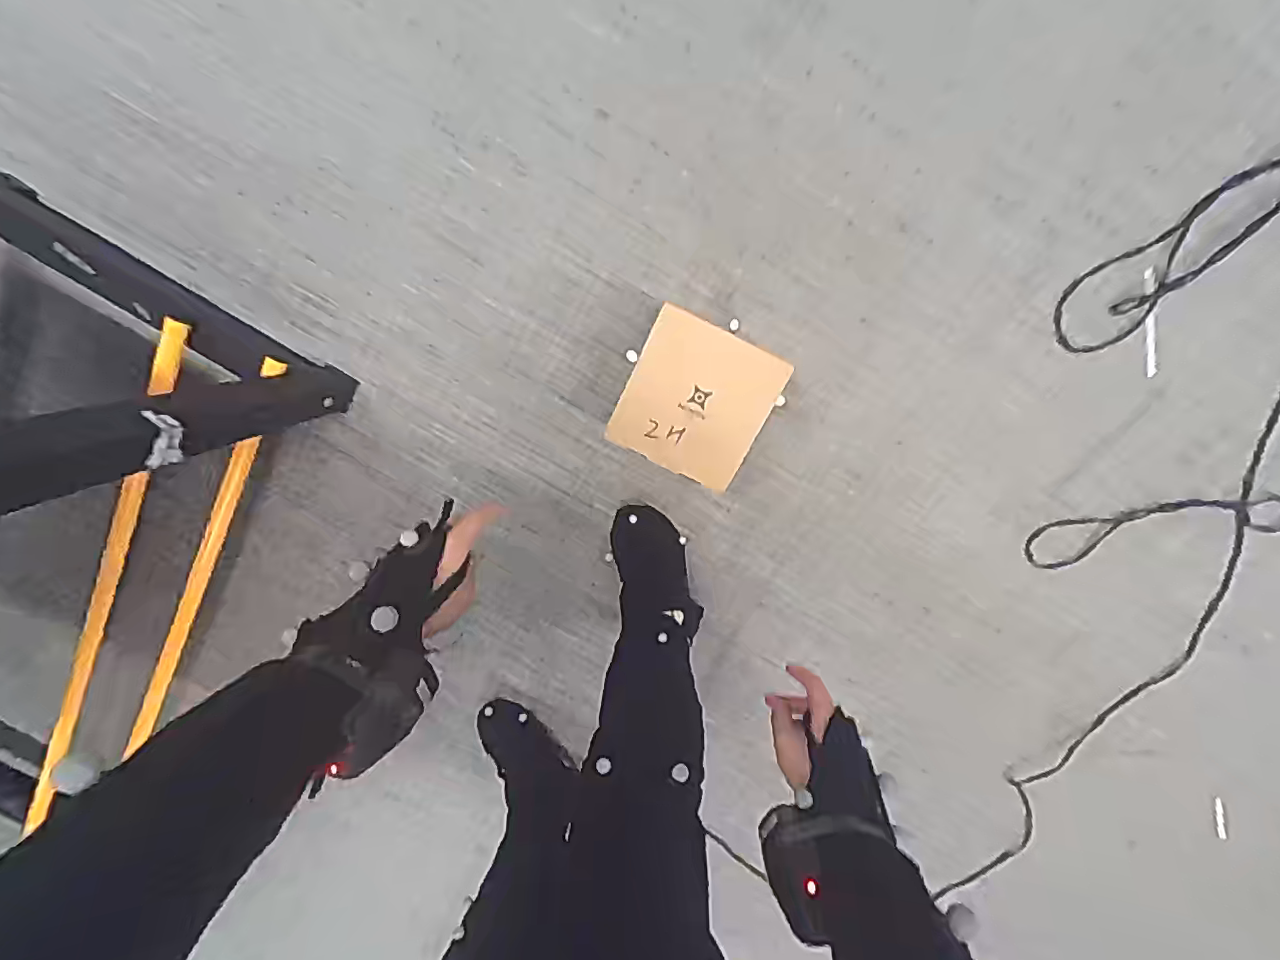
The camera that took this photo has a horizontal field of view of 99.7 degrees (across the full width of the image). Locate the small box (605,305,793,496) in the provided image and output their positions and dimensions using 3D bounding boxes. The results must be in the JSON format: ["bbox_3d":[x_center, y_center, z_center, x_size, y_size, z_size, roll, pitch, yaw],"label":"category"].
[{"bbox_3d":[0.072,-0.112,0.706,0.168,0.176,0.179,26,108,-2],"label":"small box"}]
